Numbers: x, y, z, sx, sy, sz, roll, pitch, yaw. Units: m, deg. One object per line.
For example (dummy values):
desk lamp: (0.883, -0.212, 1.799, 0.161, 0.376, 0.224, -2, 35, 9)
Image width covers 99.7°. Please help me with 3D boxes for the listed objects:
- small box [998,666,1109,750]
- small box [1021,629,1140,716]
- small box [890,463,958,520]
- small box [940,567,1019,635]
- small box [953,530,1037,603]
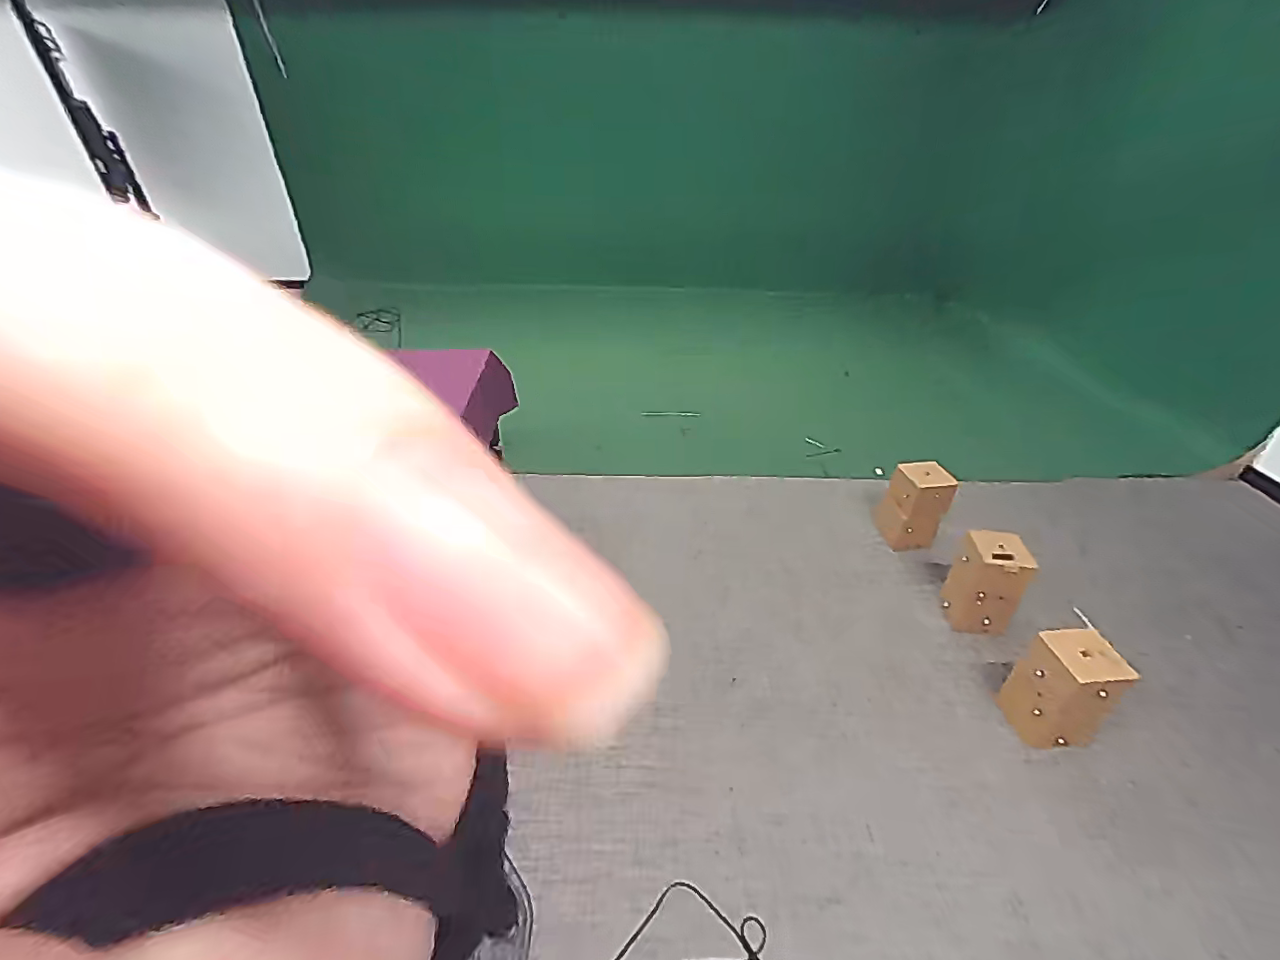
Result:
small box: (1.212, 0.671, 1.604, 0.168, 0.176, 0.179, -3, 36, -4)
small box: (1.208, 0.539, 1.506, 0.179, 0.176, 0.168, -2, 36, -4)
small box: (1.147, 0.049, 2.206, 0.179, 0.176, 0.168, -4, 36, -8)
small box: (1.212, 0.433, 1.943, 0.168, 0.176, 0.179, 5, 35, 6)
small box: (1.206, 0.297, 1.849, 0.168, 0.176, 0.179, 5, 34, 7)
